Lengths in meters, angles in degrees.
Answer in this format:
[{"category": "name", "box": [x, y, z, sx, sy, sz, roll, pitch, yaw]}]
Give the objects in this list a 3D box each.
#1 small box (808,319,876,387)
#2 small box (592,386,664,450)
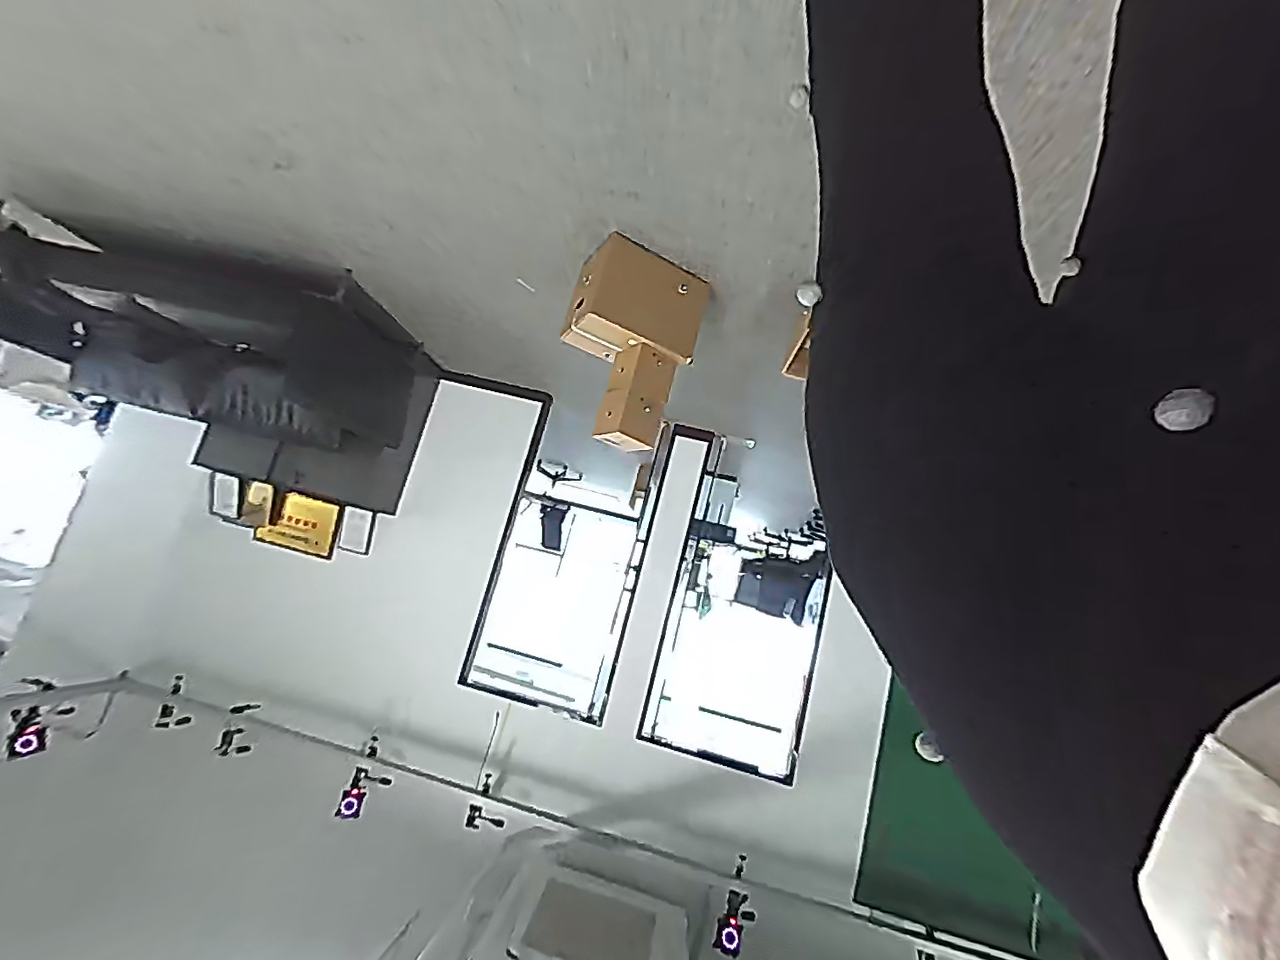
[{"category": "small box", "box": [0.718, -0.454, 1.929, 0.179, 0.176, 0.168, 13, 169, 10]}, {"category": "small box", "box": [-0.039, -0.217, 1.917, 0.168, 0.176, 0.179, 22, 166, -34]}]
